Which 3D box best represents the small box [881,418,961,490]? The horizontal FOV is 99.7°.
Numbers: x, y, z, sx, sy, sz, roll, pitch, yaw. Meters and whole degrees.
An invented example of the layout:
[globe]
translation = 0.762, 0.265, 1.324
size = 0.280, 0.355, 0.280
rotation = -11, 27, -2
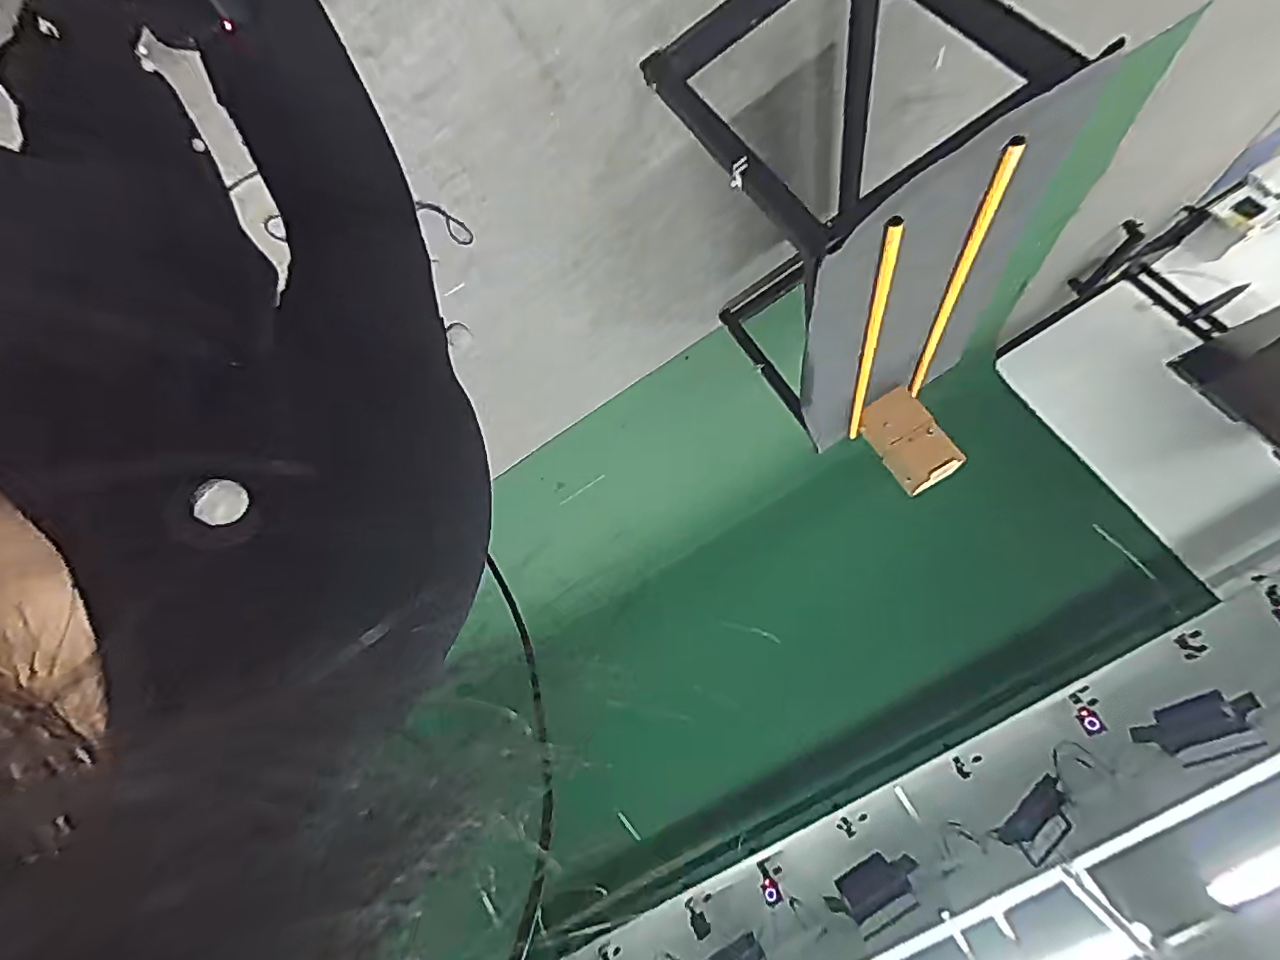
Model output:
[small box]
translation = 0.982, -0.094, 1.908
size = 0.168, 0.176, 0.179
rotation = -31, 159, 3
